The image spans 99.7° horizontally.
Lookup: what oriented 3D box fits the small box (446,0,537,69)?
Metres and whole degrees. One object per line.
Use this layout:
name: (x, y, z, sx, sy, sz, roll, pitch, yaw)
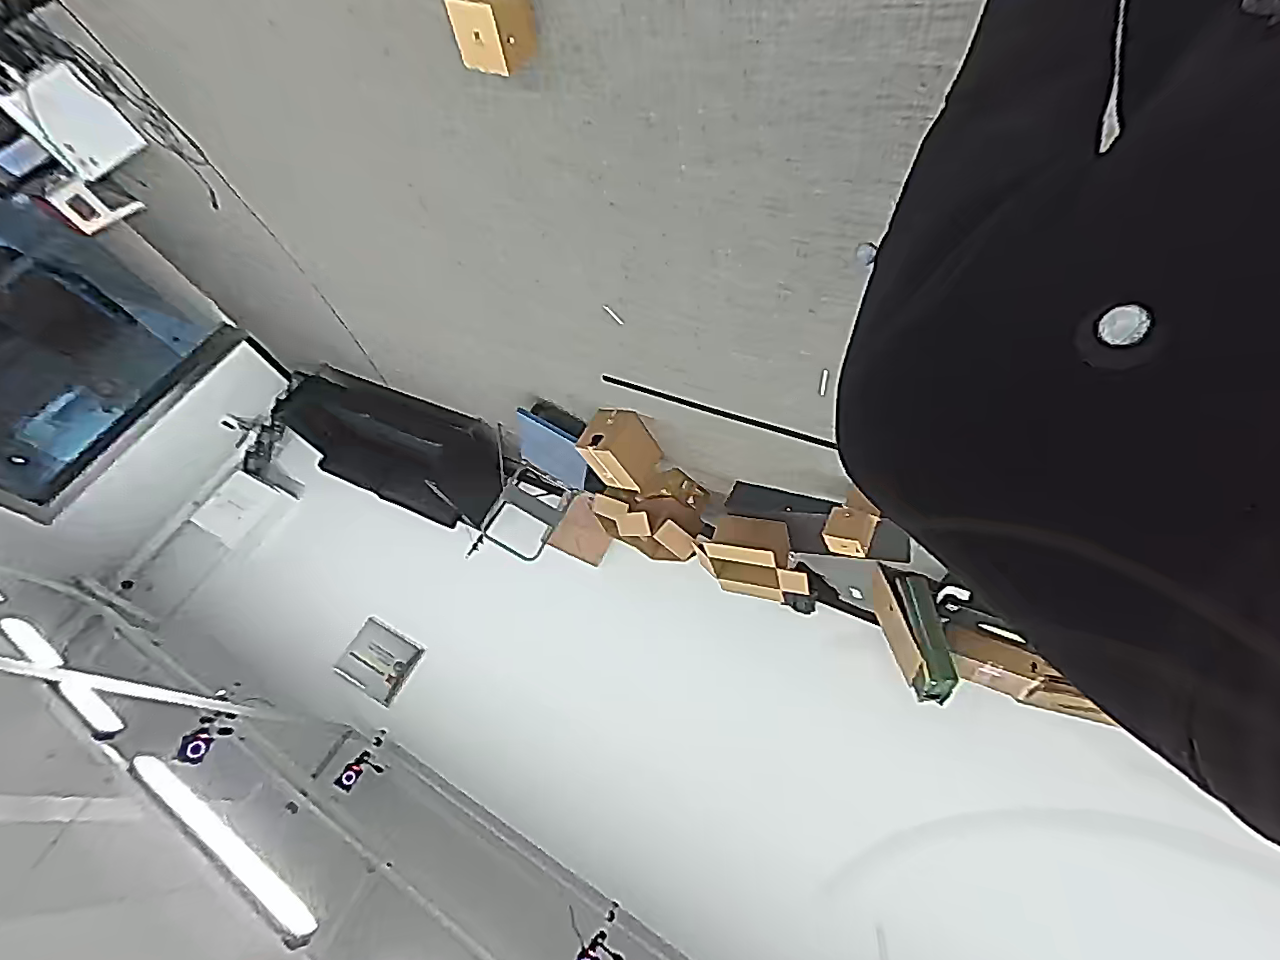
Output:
small box: (-0.424, -1.341, 1.559, 0.168, 0.176, 0.179, 23, 158, 16)
